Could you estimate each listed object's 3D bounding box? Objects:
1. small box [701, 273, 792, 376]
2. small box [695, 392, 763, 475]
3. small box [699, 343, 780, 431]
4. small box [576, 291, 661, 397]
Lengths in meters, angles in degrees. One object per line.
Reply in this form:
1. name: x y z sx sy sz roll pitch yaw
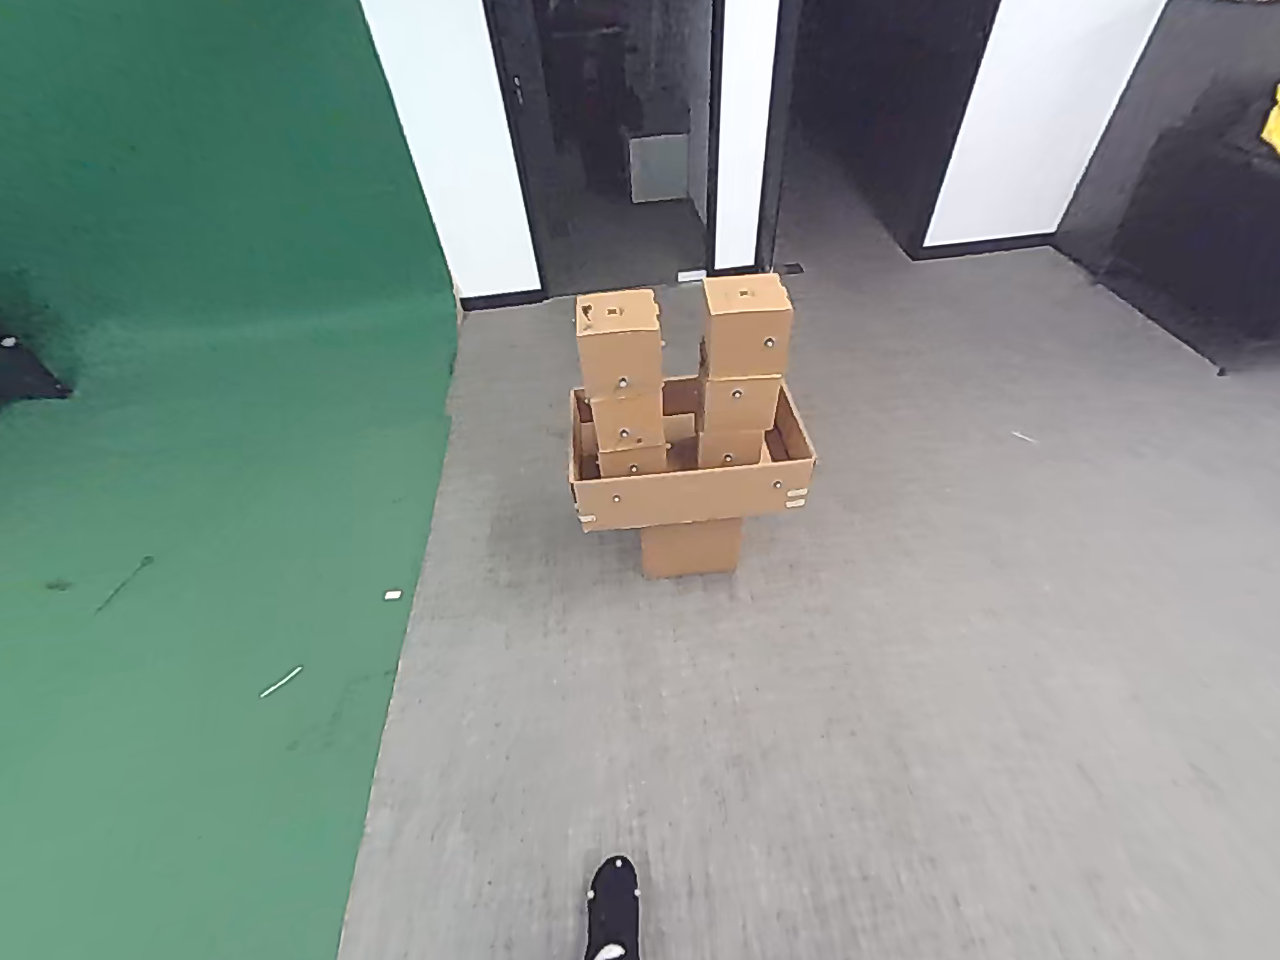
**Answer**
1. small box: 0.236 -0.355 1.245 0.179 0.176 0.168 -4 46 2
2. small box: 0.239 -0.125 1.478 0.168 0.176 0.179 -2 47 3
3. small box: 0.242 -0.237 1.357 0.179 0.176 0.168 -3 47 2
4. small box: -0.046 -0.305 1.225 0.179 0.176 0.168 -5 46 0
